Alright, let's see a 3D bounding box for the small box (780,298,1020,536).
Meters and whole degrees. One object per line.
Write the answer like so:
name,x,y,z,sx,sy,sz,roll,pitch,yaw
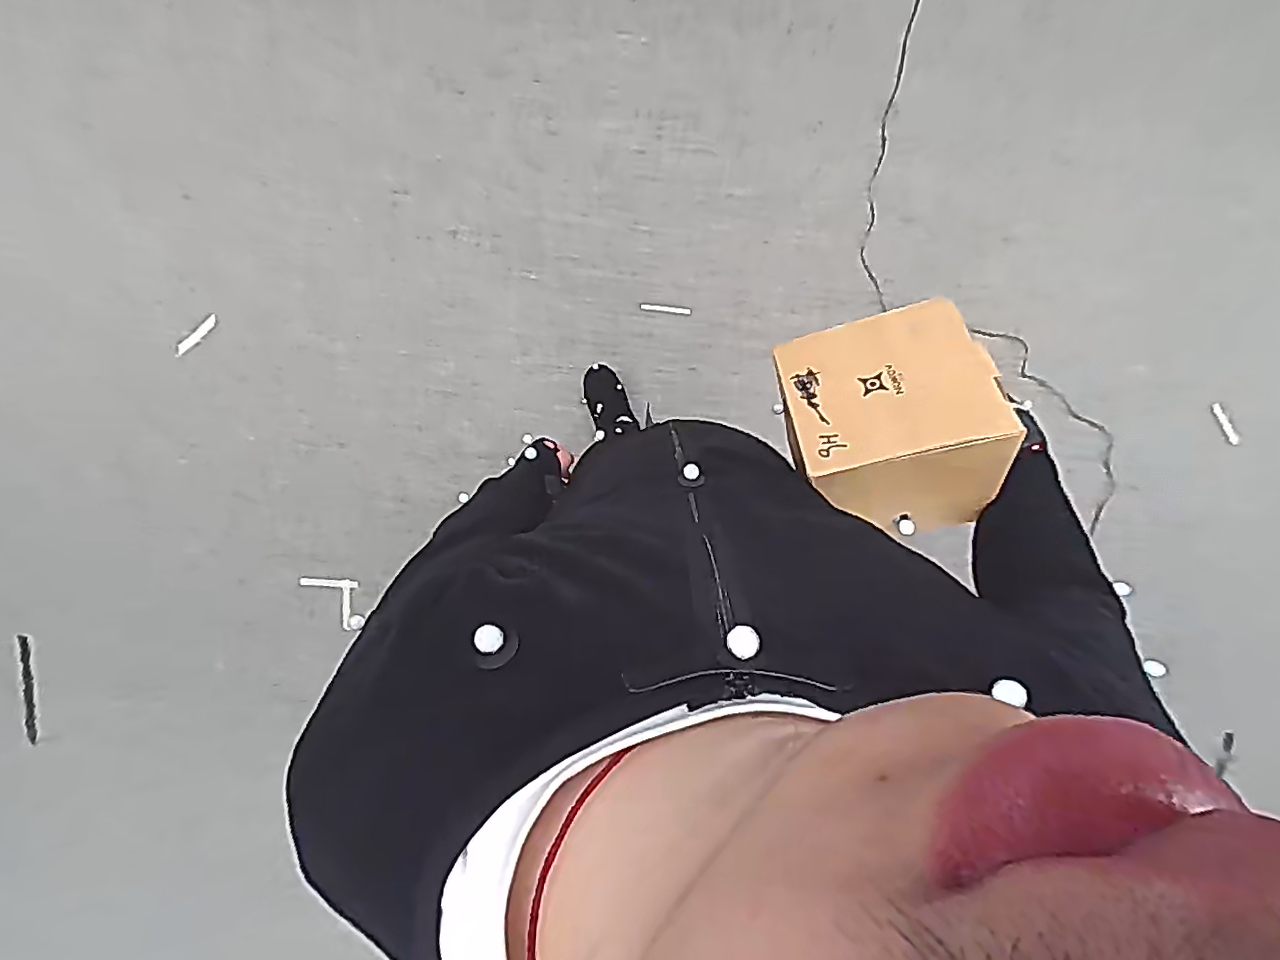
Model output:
small box,0.257,-0.057,0.578,0.179,0.176,0.168,-12,57,13
